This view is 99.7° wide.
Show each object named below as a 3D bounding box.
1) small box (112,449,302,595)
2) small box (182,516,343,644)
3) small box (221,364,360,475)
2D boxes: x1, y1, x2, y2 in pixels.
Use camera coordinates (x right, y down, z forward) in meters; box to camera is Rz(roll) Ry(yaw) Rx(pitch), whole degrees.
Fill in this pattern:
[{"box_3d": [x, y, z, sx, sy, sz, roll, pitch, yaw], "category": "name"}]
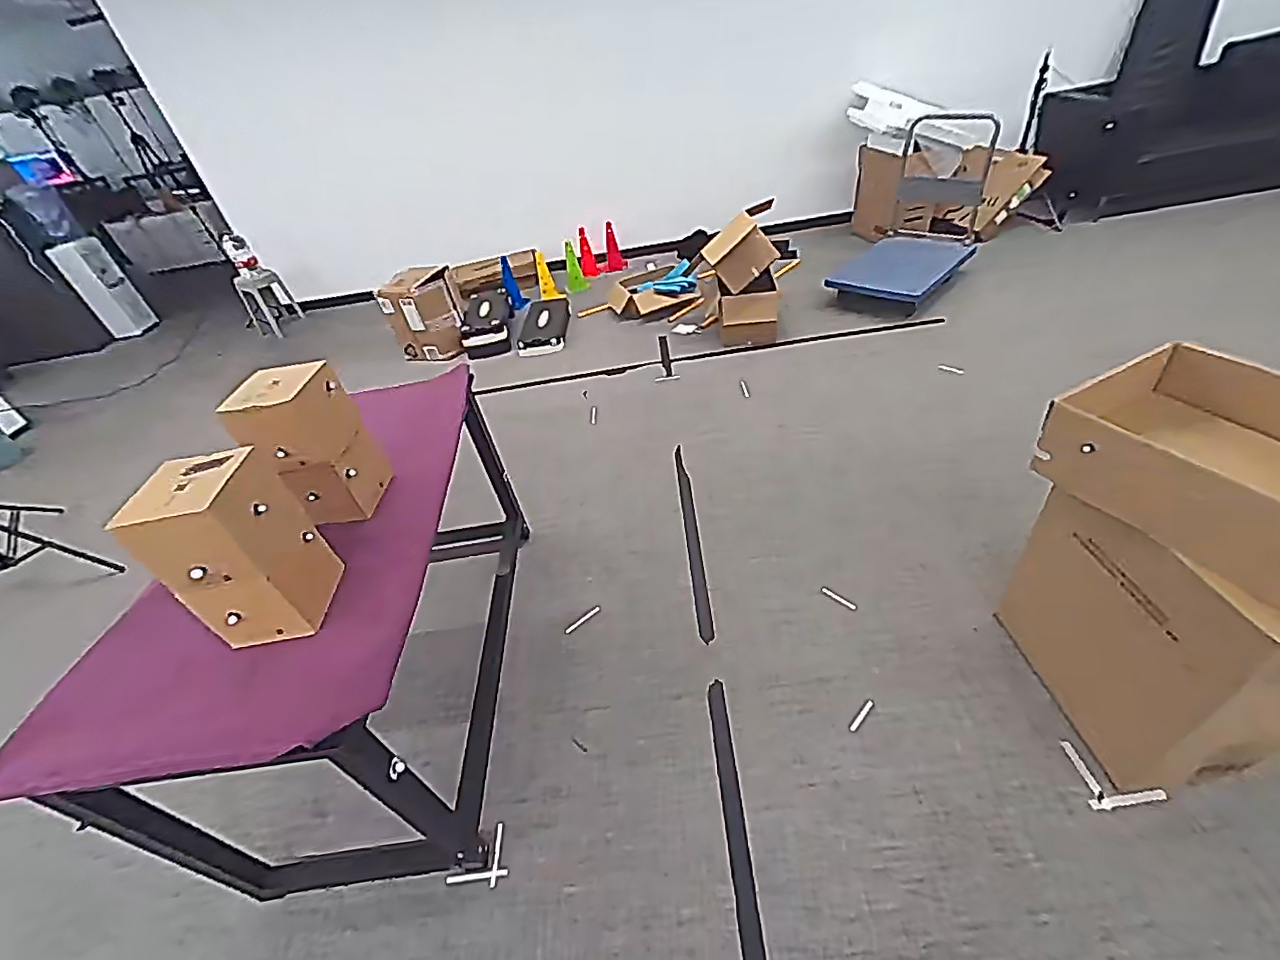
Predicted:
[{"box_3d": [-0.734, 0.073, 0.948, 0.168, 0.176, 0.179, -11, 40, 1], "category": "small box"}, {"box_3d": [-0.715, 0.200, 1.051, 0.168, 0.176, 0.179, -10, 39, 0], "category": "small box"}, {"box_3d": [-0.750, -0.131, 1.189, 0.168, 0.176, 0.179, -8, 40, 5], "category": "small box"}]
